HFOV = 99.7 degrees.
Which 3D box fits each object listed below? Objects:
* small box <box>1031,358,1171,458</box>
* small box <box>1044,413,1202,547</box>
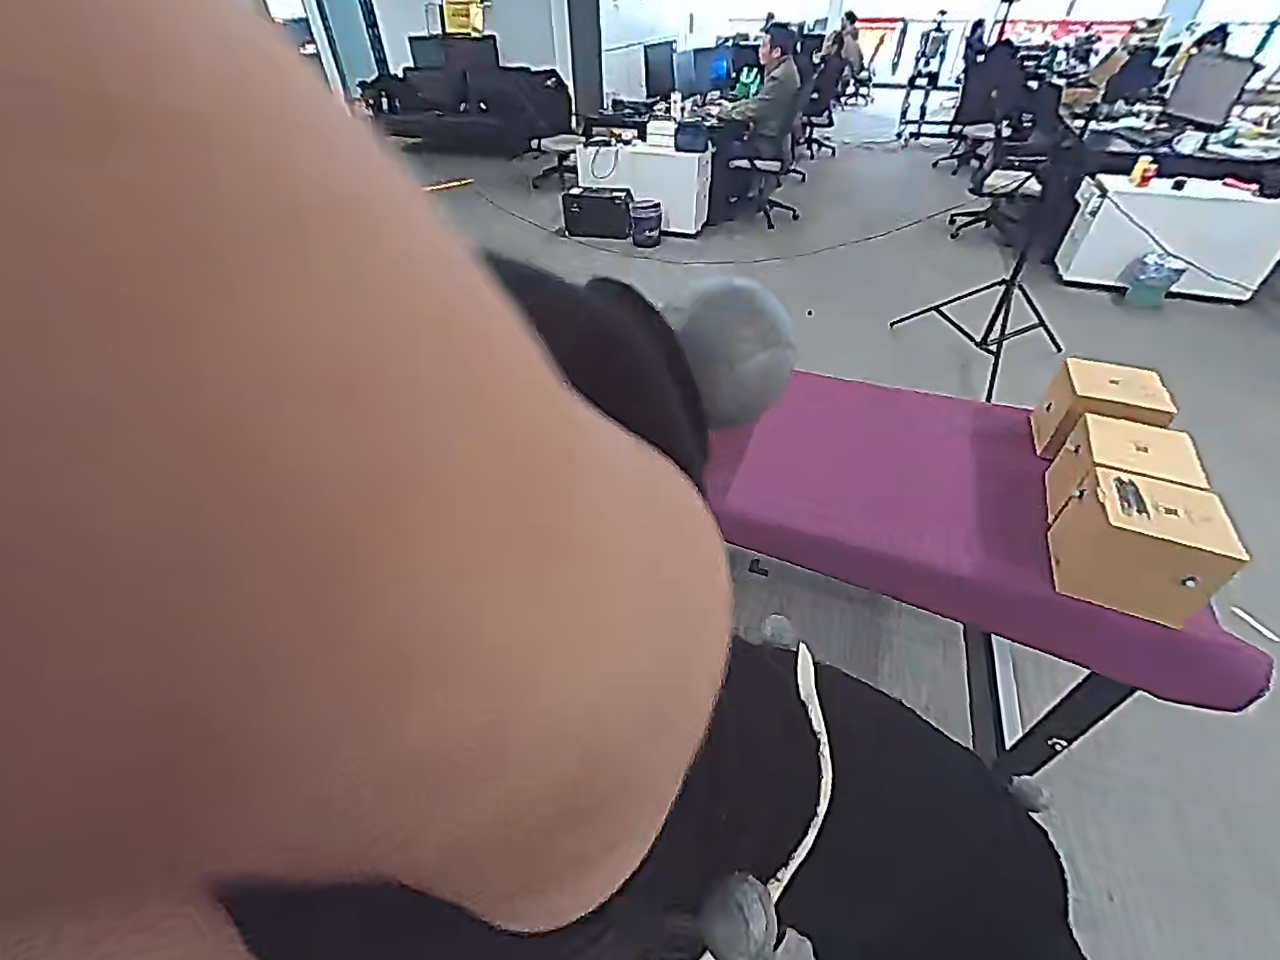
[{"bbox_3d":[0.998,-0.144,1.195,0.179,0.176,0.168,16,46,17],"label":"small box"},{"bbox_3d":[0.915,0.000,1.046,0.168,0.176,0.179,18,44,20],"label":"small box"}]
